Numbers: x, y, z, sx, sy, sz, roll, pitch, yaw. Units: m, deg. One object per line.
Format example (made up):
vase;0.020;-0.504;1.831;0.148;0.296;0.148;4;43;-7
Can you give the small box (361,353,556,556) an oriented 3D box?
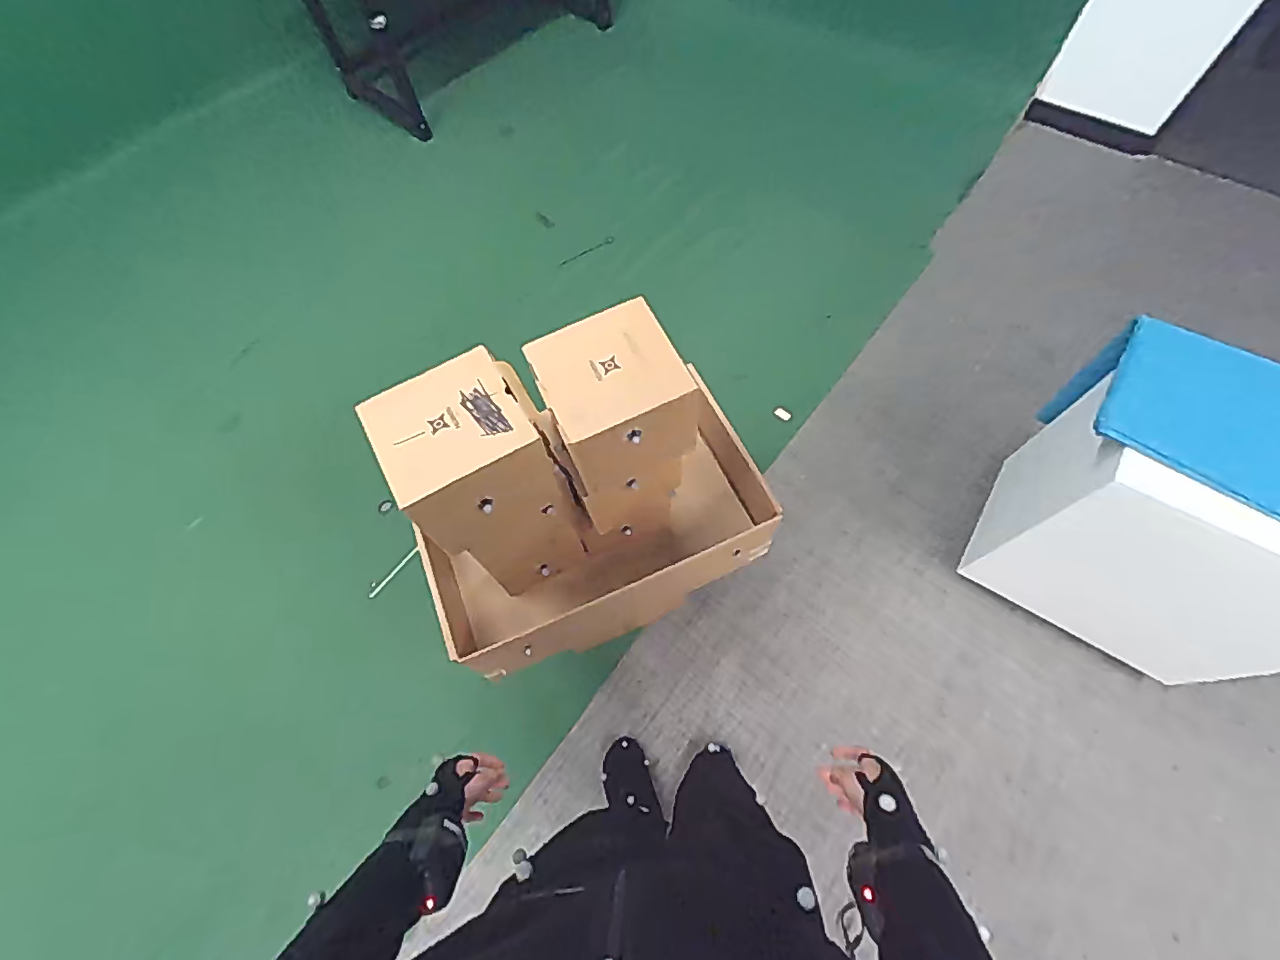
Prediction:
small box;-0.225;-0.027;0.717;0.179;0.176;0.168;-29;65;-11

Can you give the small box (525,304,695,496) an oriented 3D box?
small box;-0.033;-0.102;0.750;0.179;0.176;0.168;-24;65;-6
